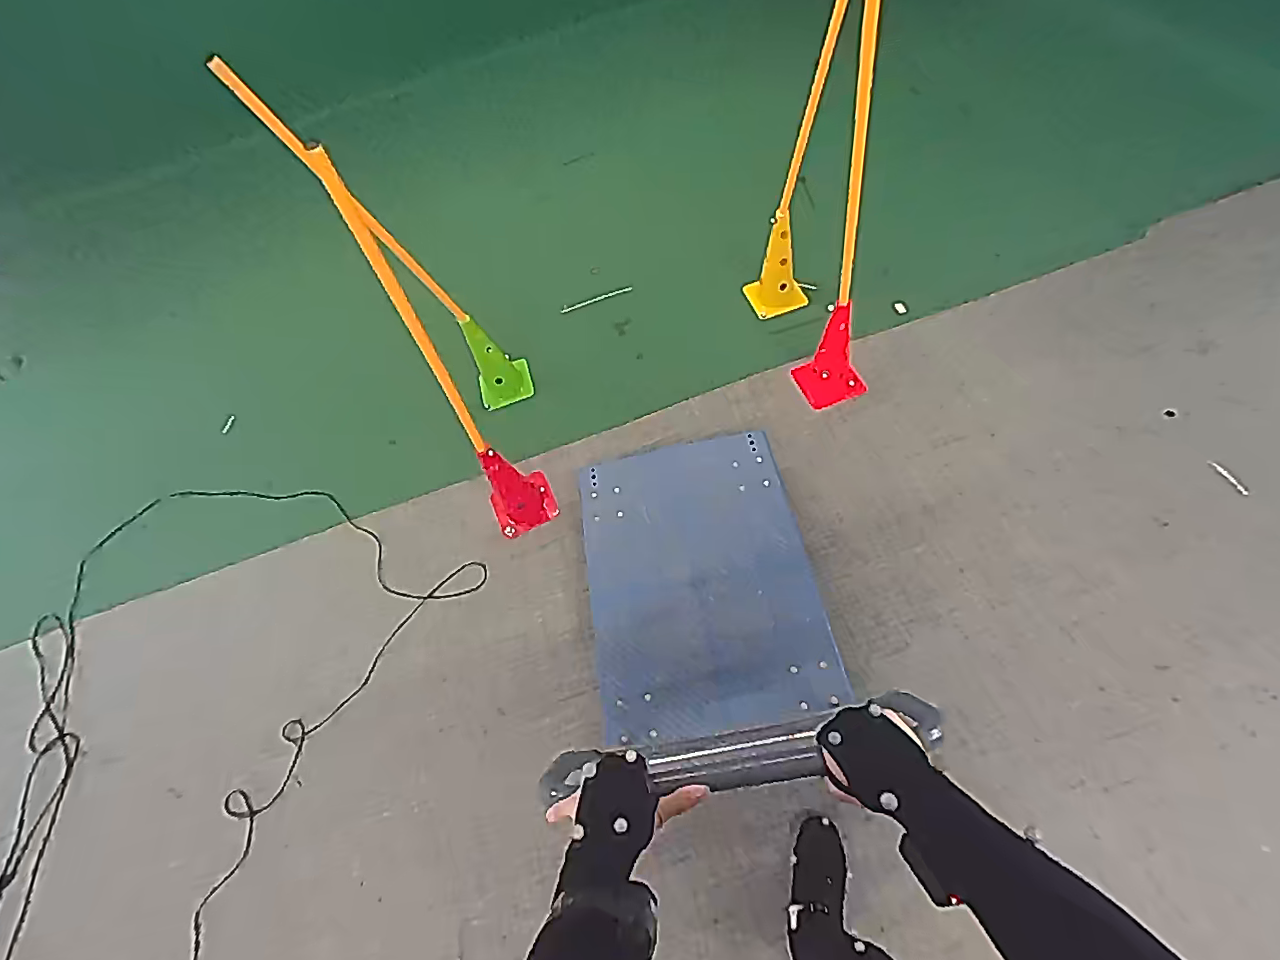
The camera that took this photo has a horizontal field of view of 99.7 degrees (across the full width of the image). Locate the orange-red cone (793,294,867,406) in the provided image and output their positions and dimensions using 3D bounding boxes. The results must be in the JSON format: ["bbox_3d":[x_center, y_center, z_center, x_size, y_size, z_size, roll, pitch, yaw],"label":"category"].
[{"bbox_3d":[0.617,-0.432,1.698,0.198,0.360,0.199,-19,57,-1],"label":"orange-red cone"}]

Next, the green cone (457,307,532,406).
[{"bbox_3d":[-0.549,-0.466,1.933,0.200,0.368,0.202,-20,58,0],"label":"green cone"}]
